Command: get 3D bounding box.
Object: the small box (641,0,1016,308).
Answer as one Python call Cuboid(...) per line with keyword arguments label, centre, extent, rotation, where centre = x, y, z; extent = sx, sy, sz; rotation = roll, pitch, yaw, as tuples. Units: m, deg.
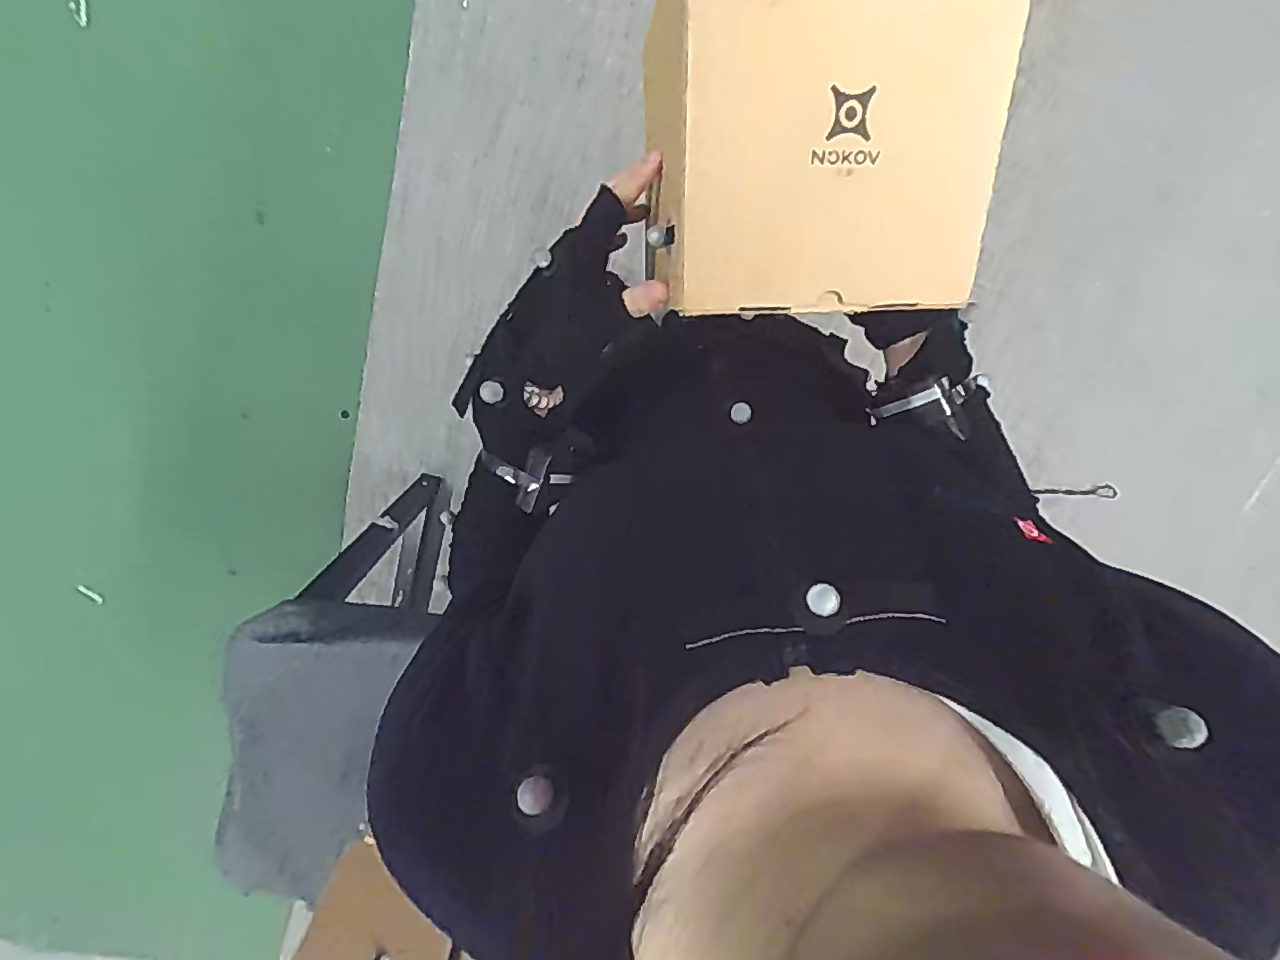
Cuboid(label="small box", centre=(0.090, -0.207, 0.345), extent=(0.168, 0.176, 0.179), rotation=(-3, 113, -5))
